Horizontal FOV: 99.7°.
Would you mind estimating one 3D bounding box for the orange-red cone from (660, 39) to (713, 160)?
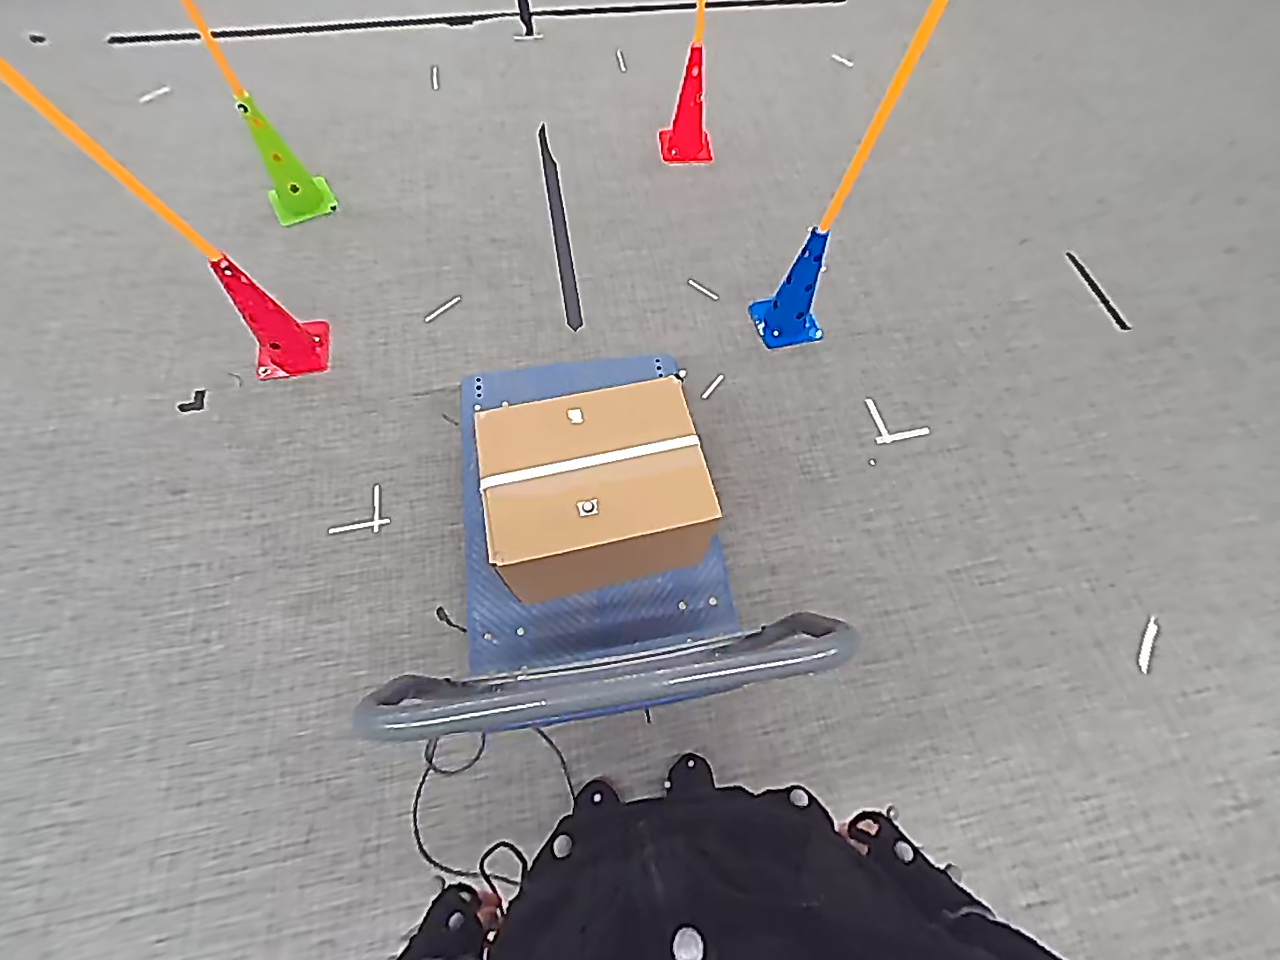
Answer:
[{"bbox_3d":[0.192,-1.400,1.976,0.199,0.360,0.198,-2,66,-5],"label":"orange-red cone"}]

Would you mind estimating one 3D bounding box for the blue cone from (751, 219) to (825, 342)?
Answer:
[{"bbox_3d":[0.484,-0.608,1.633,0.193,0.380,0.192,-12,65,-9],"label":"blue cone"}]
